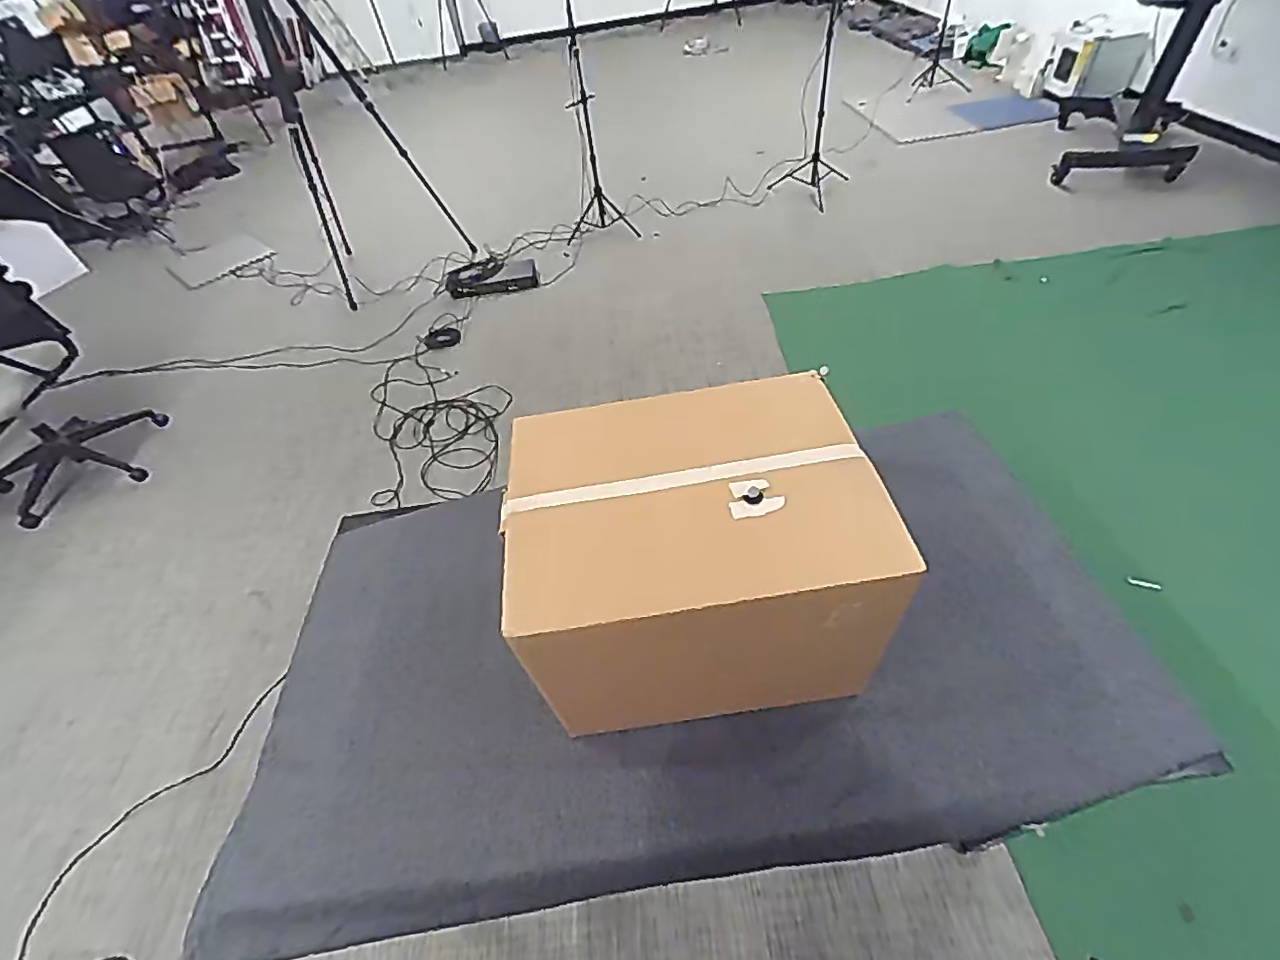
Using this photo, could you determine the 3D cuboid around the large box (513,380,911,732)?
[{"bbox_3d":[0.066,0.107,0.732,0.408,0.320,0.320,-9,49,0],"label":"large box"}]
